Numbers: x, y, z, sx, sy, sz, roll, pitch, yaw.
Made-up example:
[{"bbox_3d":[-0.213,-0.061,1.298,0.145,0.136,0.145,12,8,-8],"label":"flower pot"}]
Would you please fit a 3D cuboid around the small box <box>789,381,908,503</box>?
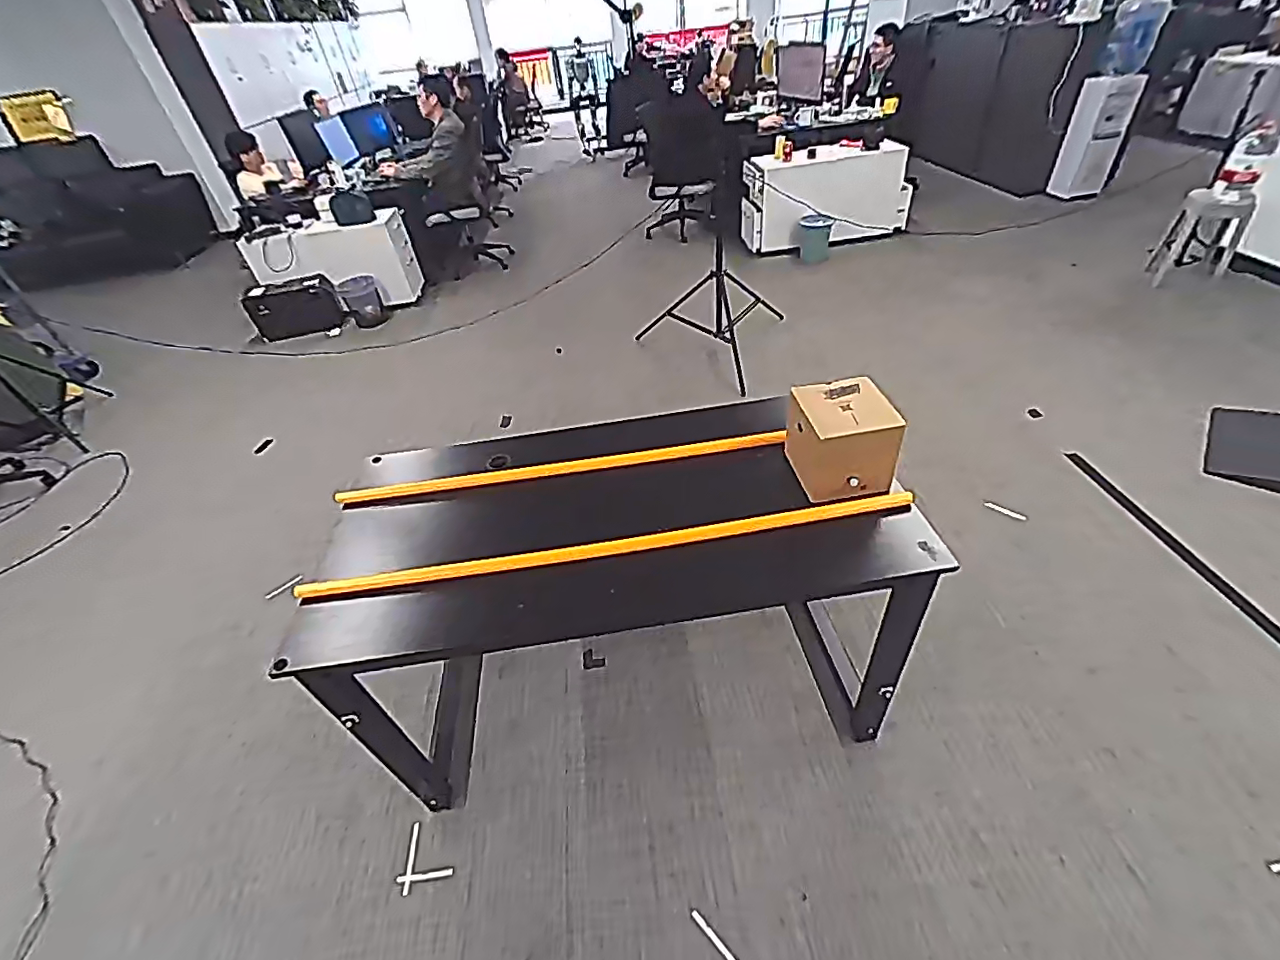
[{"bbox_3d":[0.413,-0.079,1.109,0.168,0.176,0.179,-9,41,0],"label":"small box"}]
